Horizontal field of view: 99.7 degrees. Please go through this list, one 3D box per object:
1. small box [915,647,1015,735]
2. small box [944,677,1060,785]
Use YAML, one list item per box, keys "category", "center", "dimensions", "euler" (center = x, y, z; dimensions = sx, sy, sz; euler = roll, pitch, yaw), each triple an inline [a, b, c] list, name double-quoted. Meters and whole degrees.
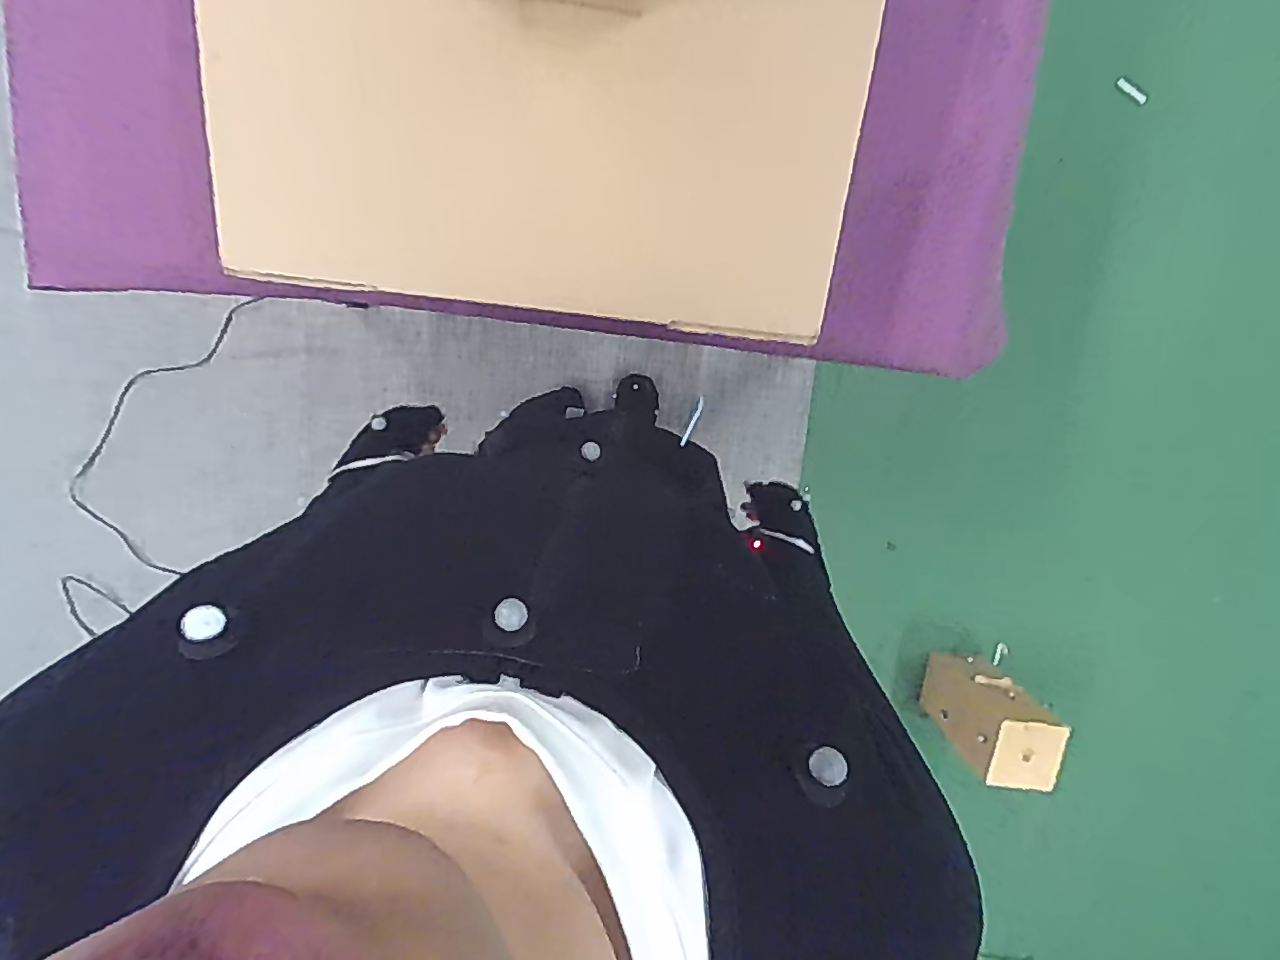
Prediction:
- category: "small box"
  center: [0.913, 0.602, 1.537]
  dimensions: [0.168, 0.176, 0.179]
  euler: [6, 101, -2]
- category: "small box"
  center: [0.908, 0.634, 1.377]
  dimensions: [0.168, 0.176, 0.179]
  euler: [7, 101, -2]
